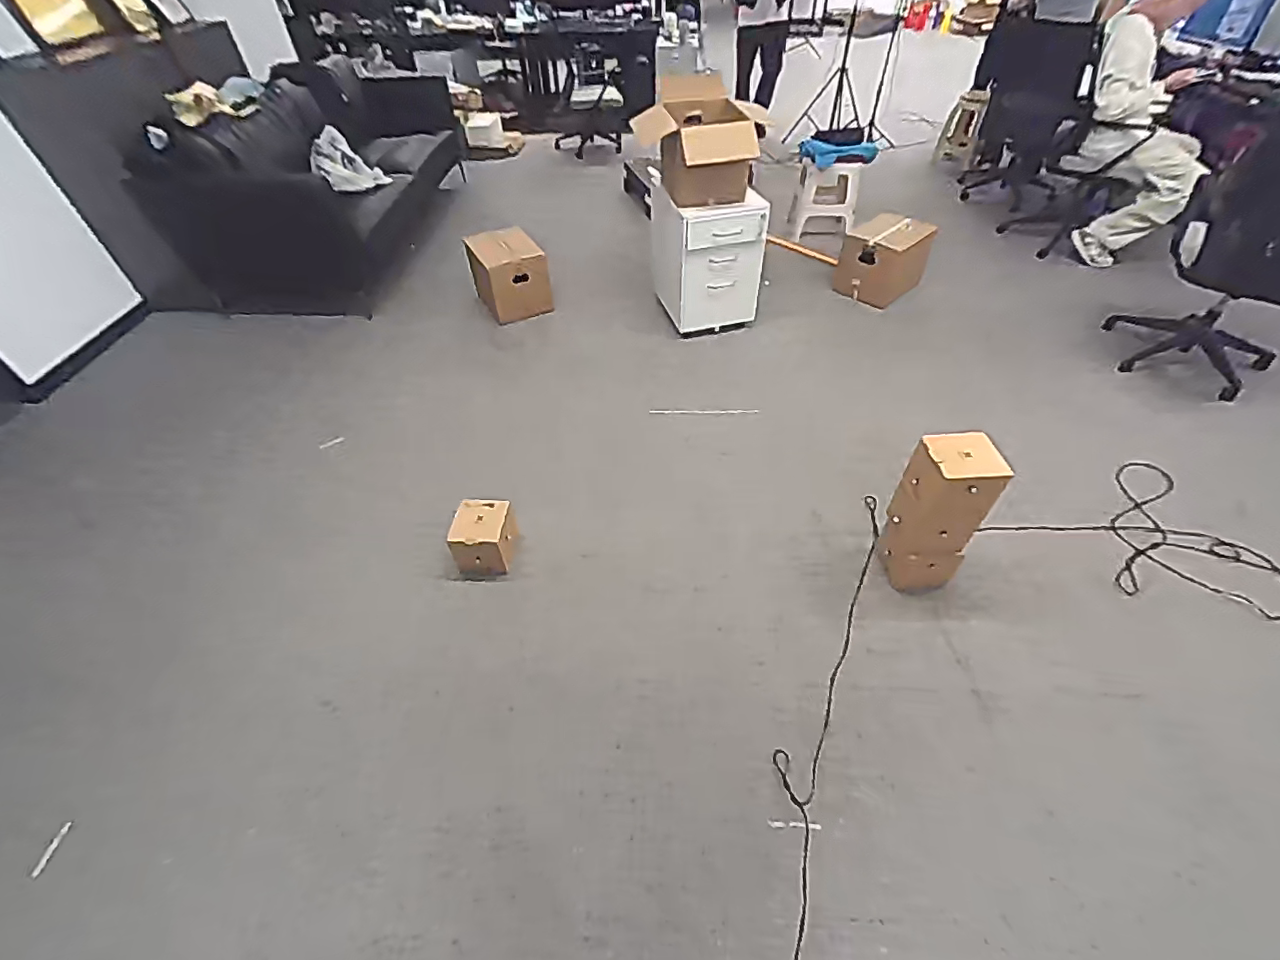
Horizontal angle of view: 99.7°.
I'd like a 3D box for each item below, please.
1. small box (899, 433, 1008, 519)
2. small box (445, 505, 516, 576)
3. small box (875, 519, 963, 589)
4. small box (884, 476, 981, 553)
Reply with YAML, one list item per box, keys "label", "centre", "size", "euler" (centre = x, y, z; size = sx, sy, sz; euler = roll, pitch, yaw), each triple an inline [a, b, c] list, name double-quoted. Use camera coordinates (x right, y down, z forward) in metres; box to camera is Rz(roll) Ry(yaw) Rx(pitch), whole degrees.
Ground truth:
- label: "small box"
  centre: [0.842, -0.009, 1.472]
  size: [0.179, 0.176, 0.168]
  euler: [-4, 46, 0]
- label: "small box"
  centre: [-0.518, 0.201, 1.789]
  size: [0.168, 0.176, 0.179]
  euler: [1, 46, 4]
- label: "small box"
  centre: [0.862, 0.227, 1.697]
  size: [0.179, 0.176, 0.168]
  euler: [-5, 46, -3]
- label: "small box"
  centre: [0.852, 0.100, 1.592]
  size: [0.179, 0.176, 0.168]
  euler: [-3, 45, 1]
